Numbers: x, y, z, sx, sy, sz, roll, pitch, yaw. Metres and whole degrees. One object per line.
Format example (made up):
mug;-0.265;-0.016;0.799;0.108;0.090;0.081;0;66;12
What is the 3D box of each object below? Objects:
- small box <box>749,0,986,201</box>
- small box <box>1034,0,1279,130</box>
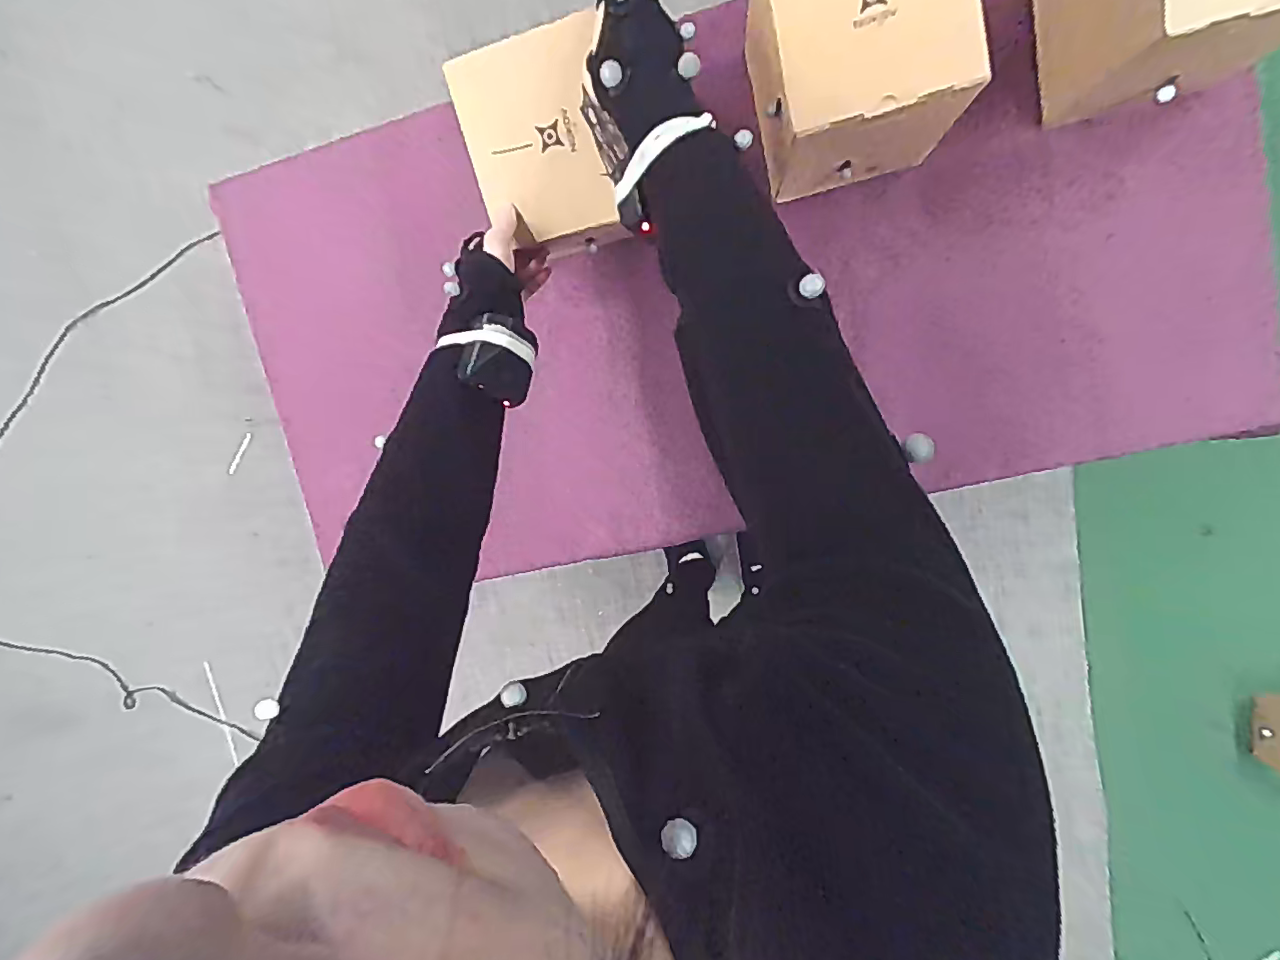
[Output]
small box;0.207;-0.414;0.538;0.168;0.176;0.179;-11;97;10
small box;0.488;-0.459;0.485;0.168;0.176;0.179;-9;100;10
